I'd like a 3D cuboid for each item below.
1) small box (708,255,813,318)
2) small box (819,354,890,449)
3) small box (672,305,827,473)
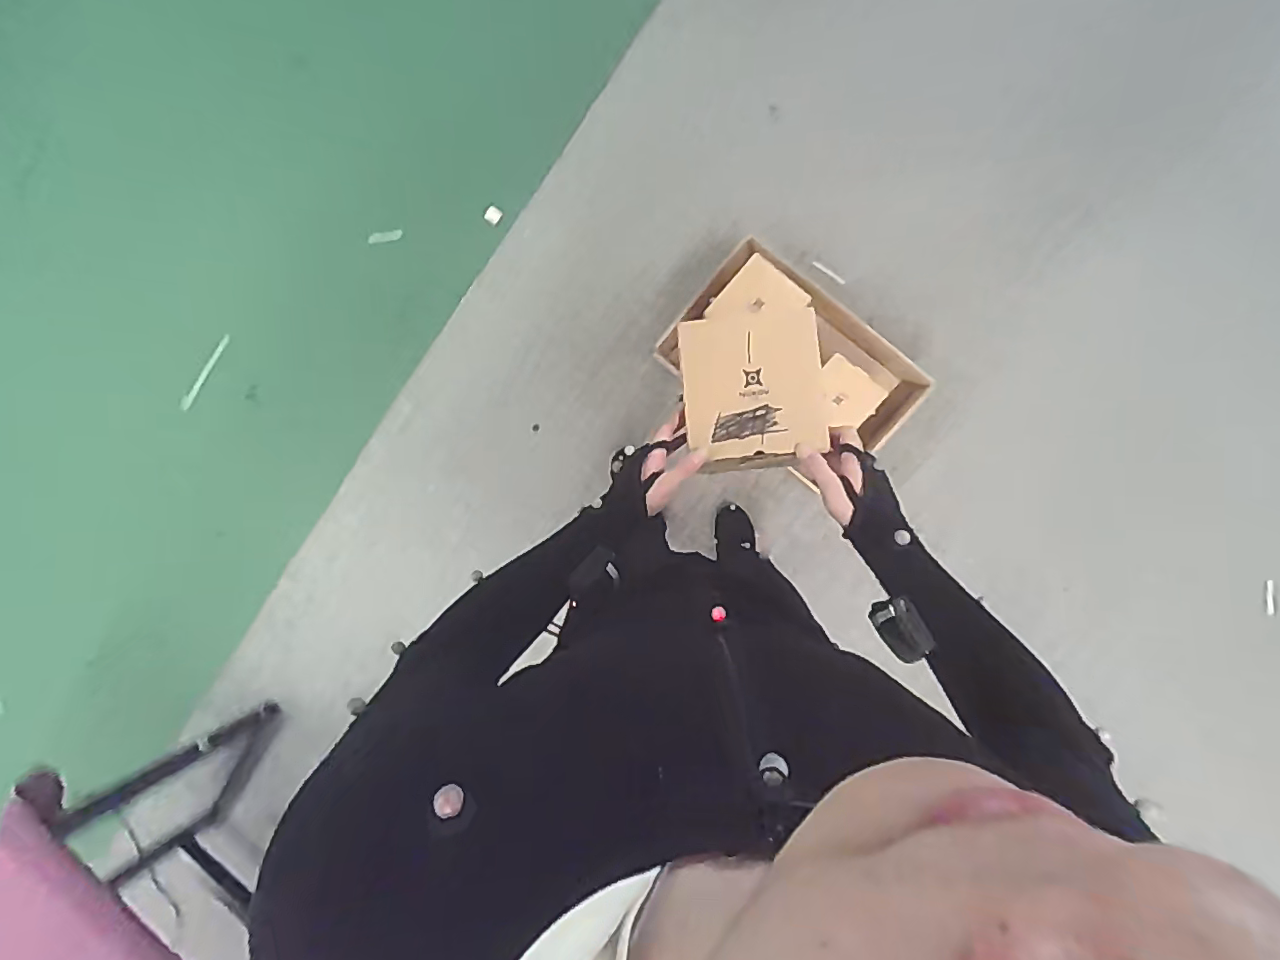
[{"bbox_3d":[0.275,-0.387,1.280,0.168,0.176,0.179,42,97,5],"label":"small box"},{"bbox_3d":[0.509,-0.198,1.412,0.168,0.176,0.179,42,97,7],"label":"small box"},{"bbox_3d":[0.135,-0.105,0.711,0.168,0.176,0.179,-6,84,4],"label":"small box"}]
